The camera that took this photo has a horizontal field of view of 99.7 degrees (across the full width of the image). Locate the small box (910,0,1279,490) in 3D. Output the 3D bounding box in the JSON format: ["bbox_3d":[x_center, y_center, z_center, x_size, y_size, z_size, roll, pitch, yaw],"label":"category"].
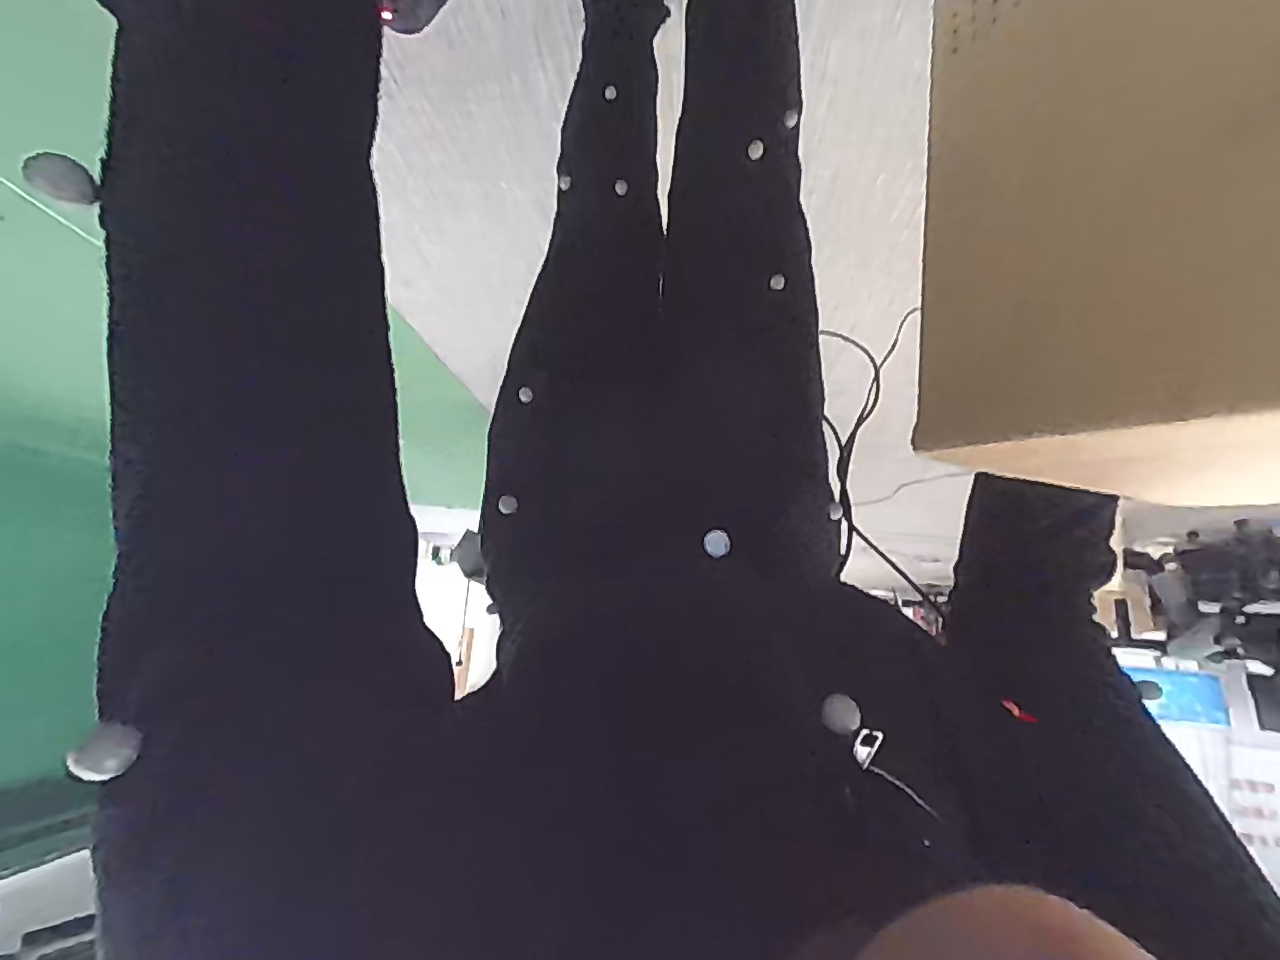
[{"bbox_3d":[0.200,-0.094,0.146,0.179,0.176,0.168,6,174,-24],"label":"small box"}]
